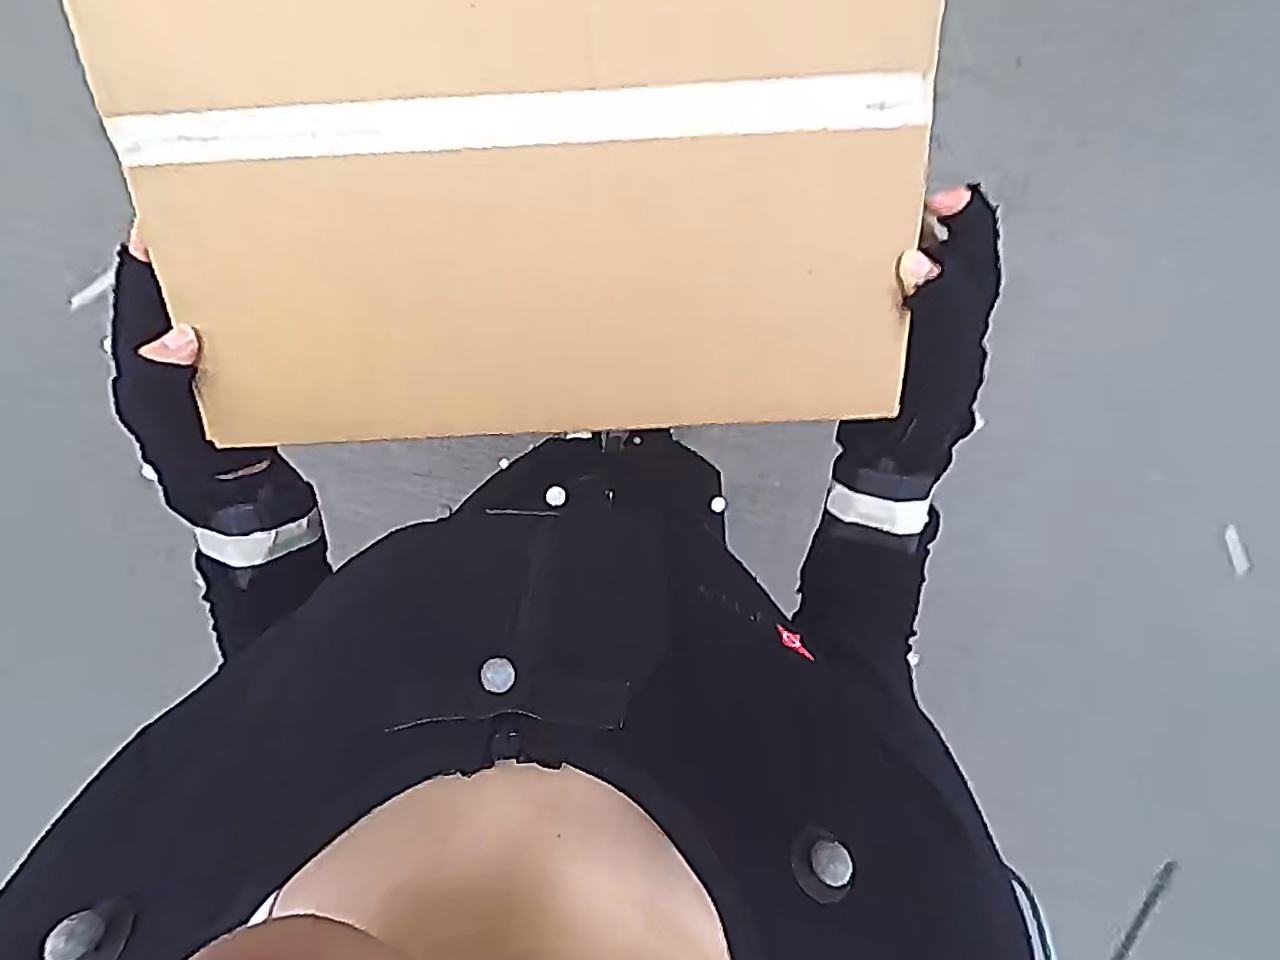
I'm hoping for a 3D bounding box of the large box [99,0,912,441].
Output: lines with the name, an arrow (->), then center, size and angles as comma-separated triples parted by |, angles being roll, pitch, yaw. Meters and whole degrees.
large box -> -0.065, -0.231, 0.423 | 0.408, 0.320, 0.320 | -4, 110, 0
